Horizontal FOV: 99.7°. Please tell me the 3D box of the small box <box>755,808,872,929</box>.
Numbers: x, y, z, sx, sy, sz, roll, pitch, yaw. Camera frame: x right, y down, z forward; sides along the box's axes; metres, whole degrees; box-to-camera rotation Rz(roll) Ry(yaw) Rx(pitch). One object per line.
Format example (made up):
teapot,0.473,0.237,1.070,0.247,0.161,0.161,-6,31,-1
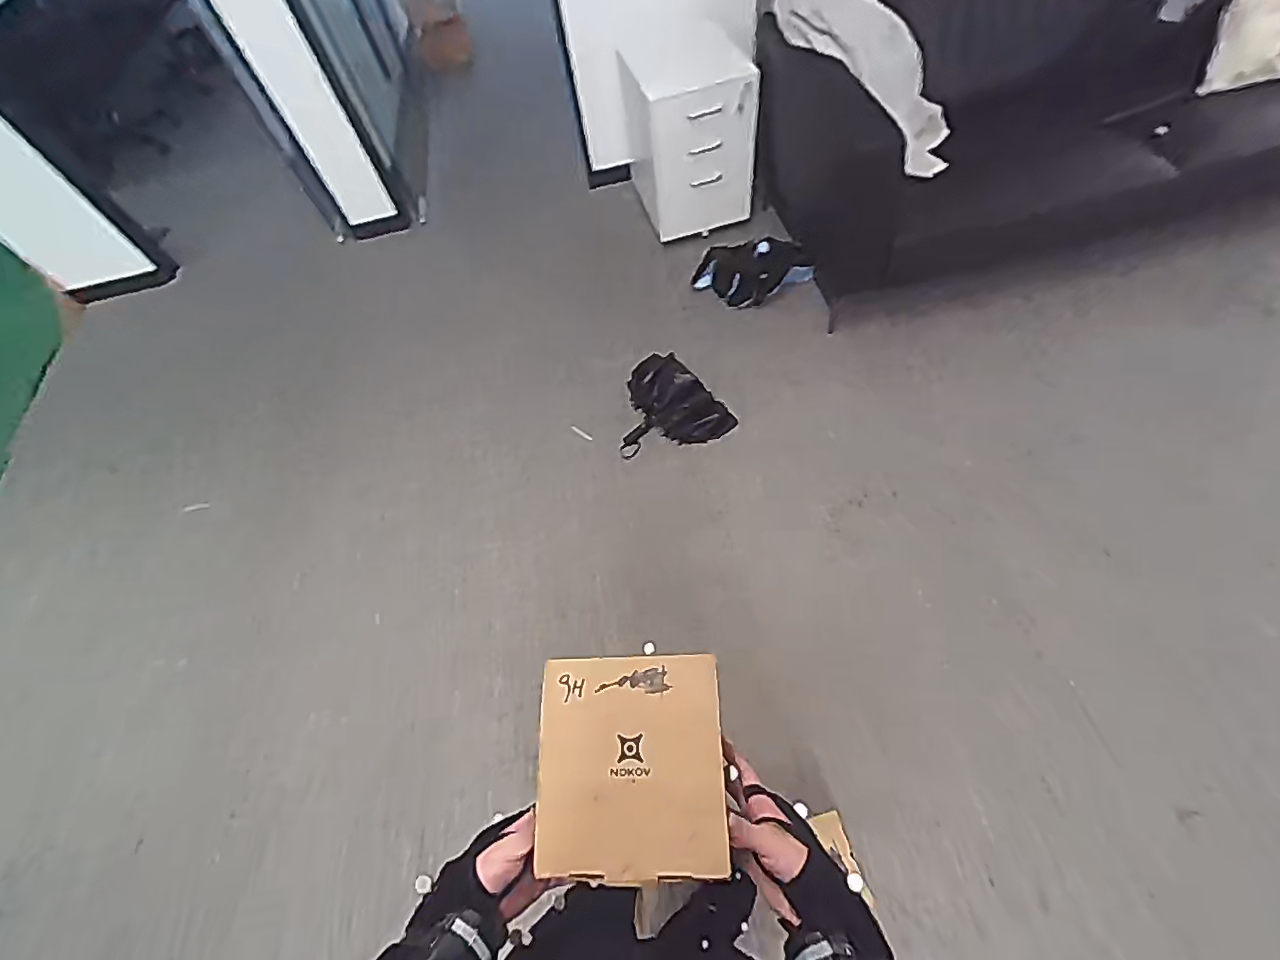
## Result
small box,0.357,0.815,1.151,0.179,0.176,0.168,-18,58,-2
